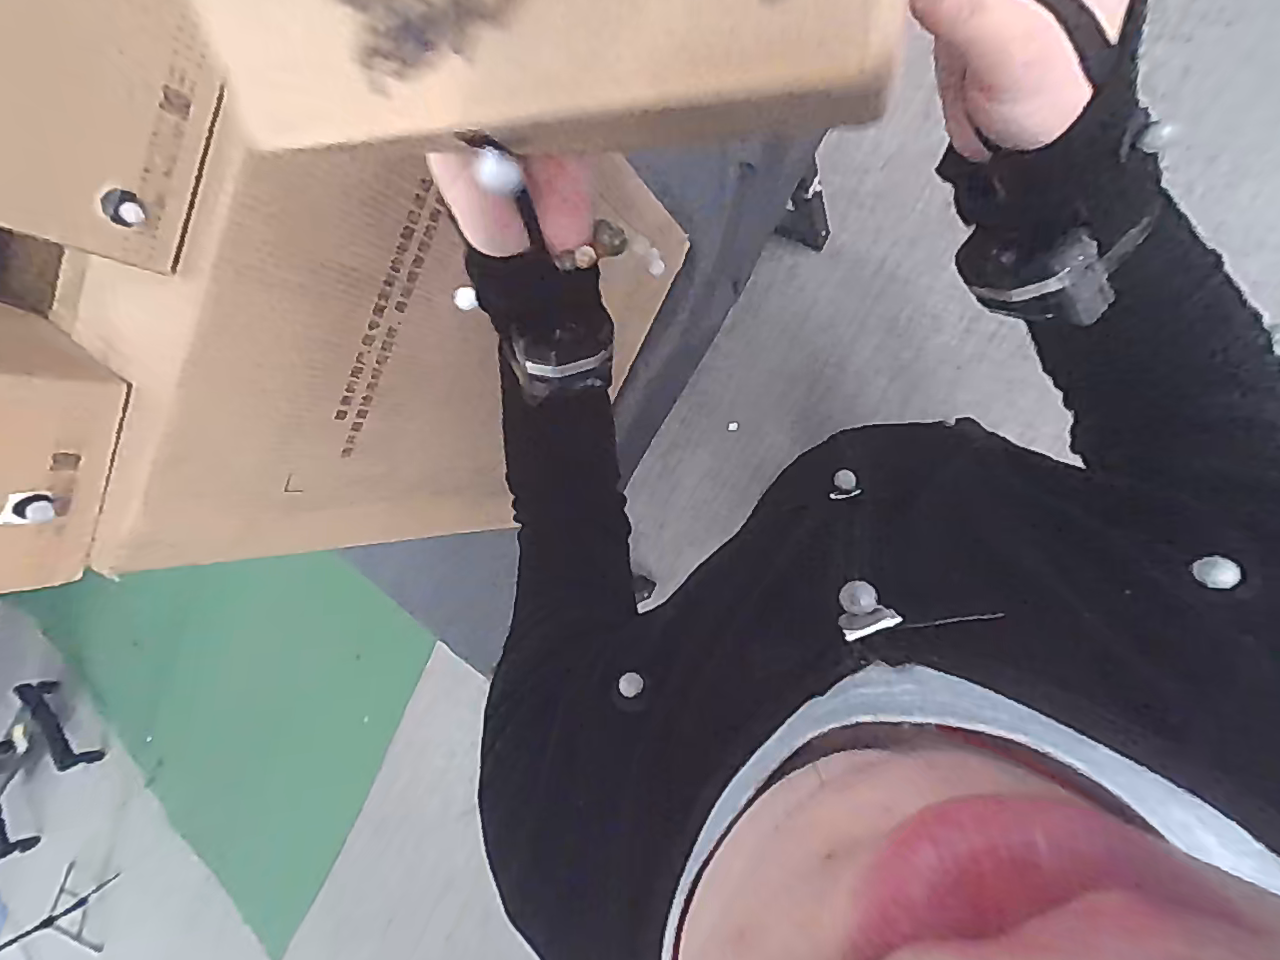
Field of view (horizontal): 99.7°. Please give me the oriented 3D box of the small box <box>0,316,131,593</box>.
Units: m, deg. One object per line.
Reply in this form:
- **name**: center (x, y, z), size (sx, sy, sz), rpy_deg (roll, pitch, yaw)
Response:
- **small box**: center (-0.491, -0.023, 0.353), size (0.179, 0.176, 0.168), rpy_deg (27, 102, 20)
